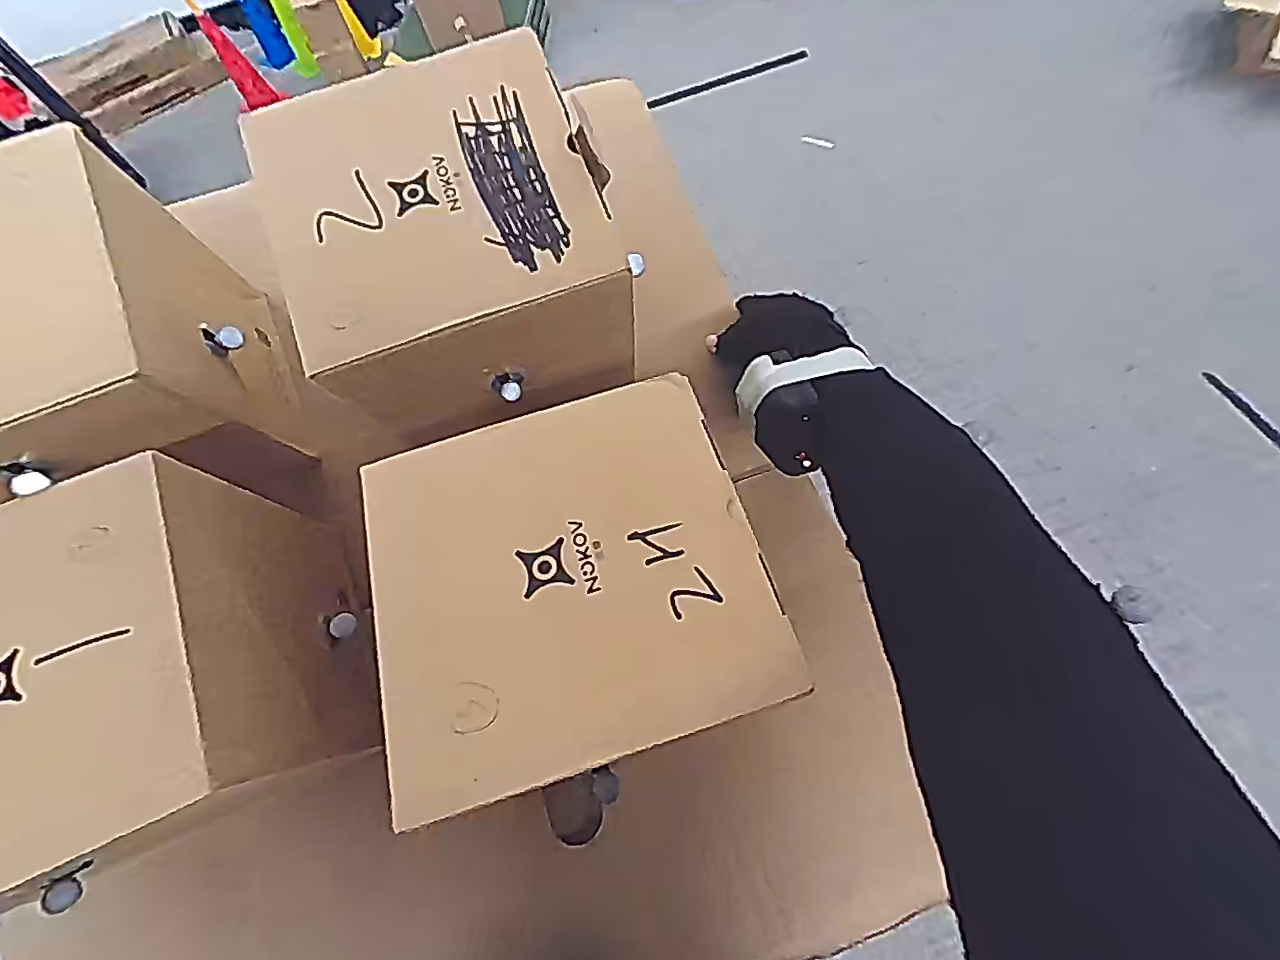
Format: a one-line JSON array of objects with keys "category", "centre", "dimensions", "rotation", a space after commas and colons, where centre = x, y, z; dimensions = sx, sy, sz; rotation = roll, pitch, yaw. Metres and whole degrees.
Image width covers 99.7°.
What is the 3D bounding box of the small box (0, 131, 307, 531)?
[{"category": "small box", "centre": [-0.362, -0.078, 0.365], "dimensions": [0.179, 0.176, 0.168], "rotation": [-24, 78, -5]}]
